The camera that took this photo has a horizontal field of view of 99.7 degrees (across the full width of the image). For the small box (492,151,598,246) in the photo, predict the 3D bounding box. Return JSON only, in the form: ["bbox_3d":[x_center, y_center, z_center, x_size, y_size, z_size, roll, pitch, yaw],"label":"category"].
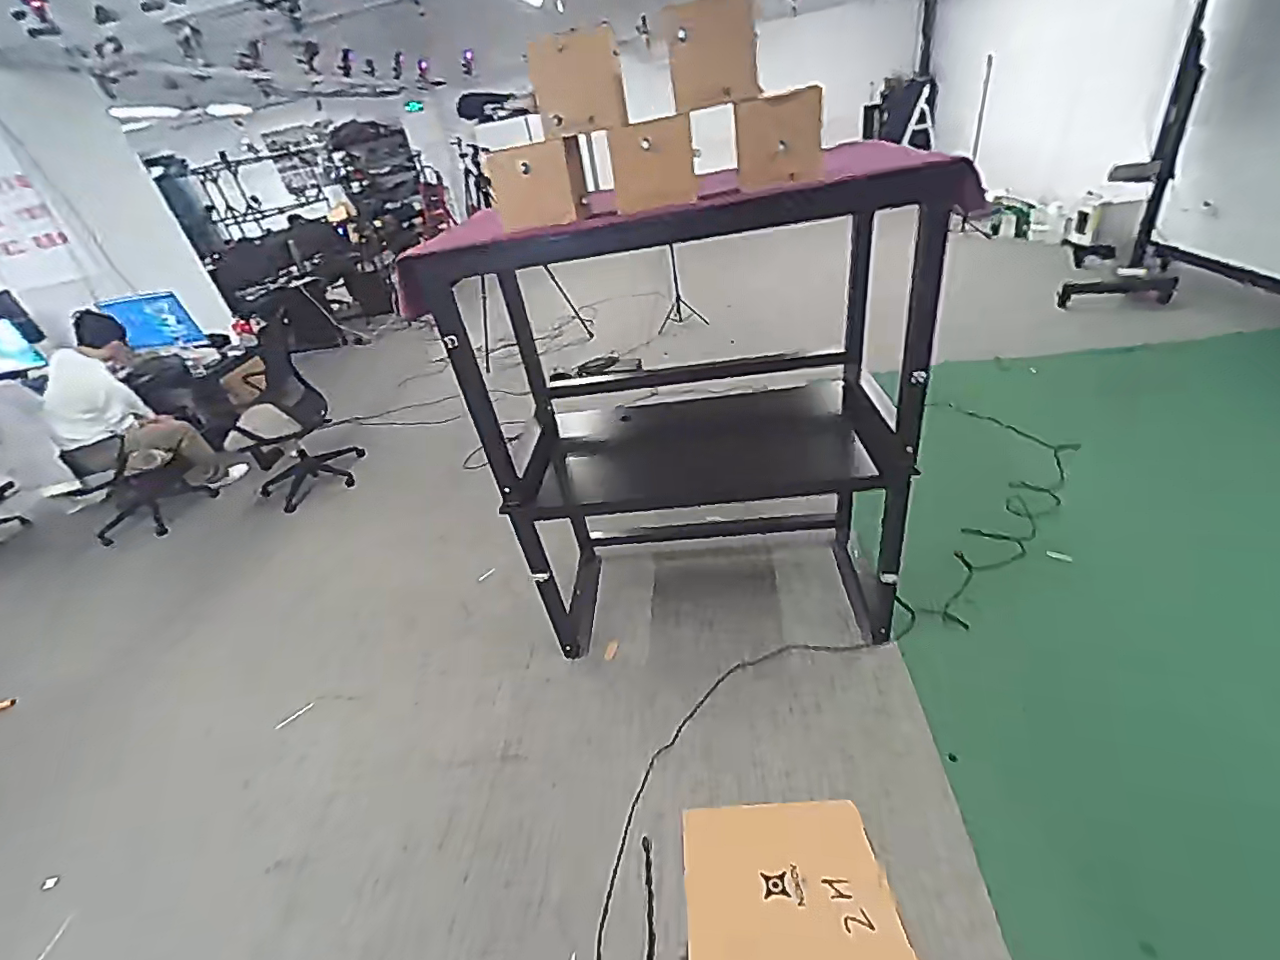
[{"bbox_3d":[-0.212,-0.651,1.253,0.179,0.176,0.168,-2,33,12],"label":"small box"}]

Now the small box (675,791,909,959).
[{"bbox_3d":[0.129,0.425,0.499,0.179,0.176,0.168,-6,16,4],"label":"small box"}]

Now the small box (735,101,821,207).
[{"bbox_3d":[0.298,-0.703,1.174,0.168,0.176,0.179,-4,34,10],"label":"small box"}]

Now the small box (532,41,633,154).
[{"bbox_3d":[-0.113,-0.806,1.157,0.168,0.176,0.179,-5,32,9],"label":"small box"}]

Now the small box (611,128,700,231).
[{"bbox_3d":[0.042,-0.675,1.213,0.179,0.176,0.168,-7,32,8],"label":"small box"}]
